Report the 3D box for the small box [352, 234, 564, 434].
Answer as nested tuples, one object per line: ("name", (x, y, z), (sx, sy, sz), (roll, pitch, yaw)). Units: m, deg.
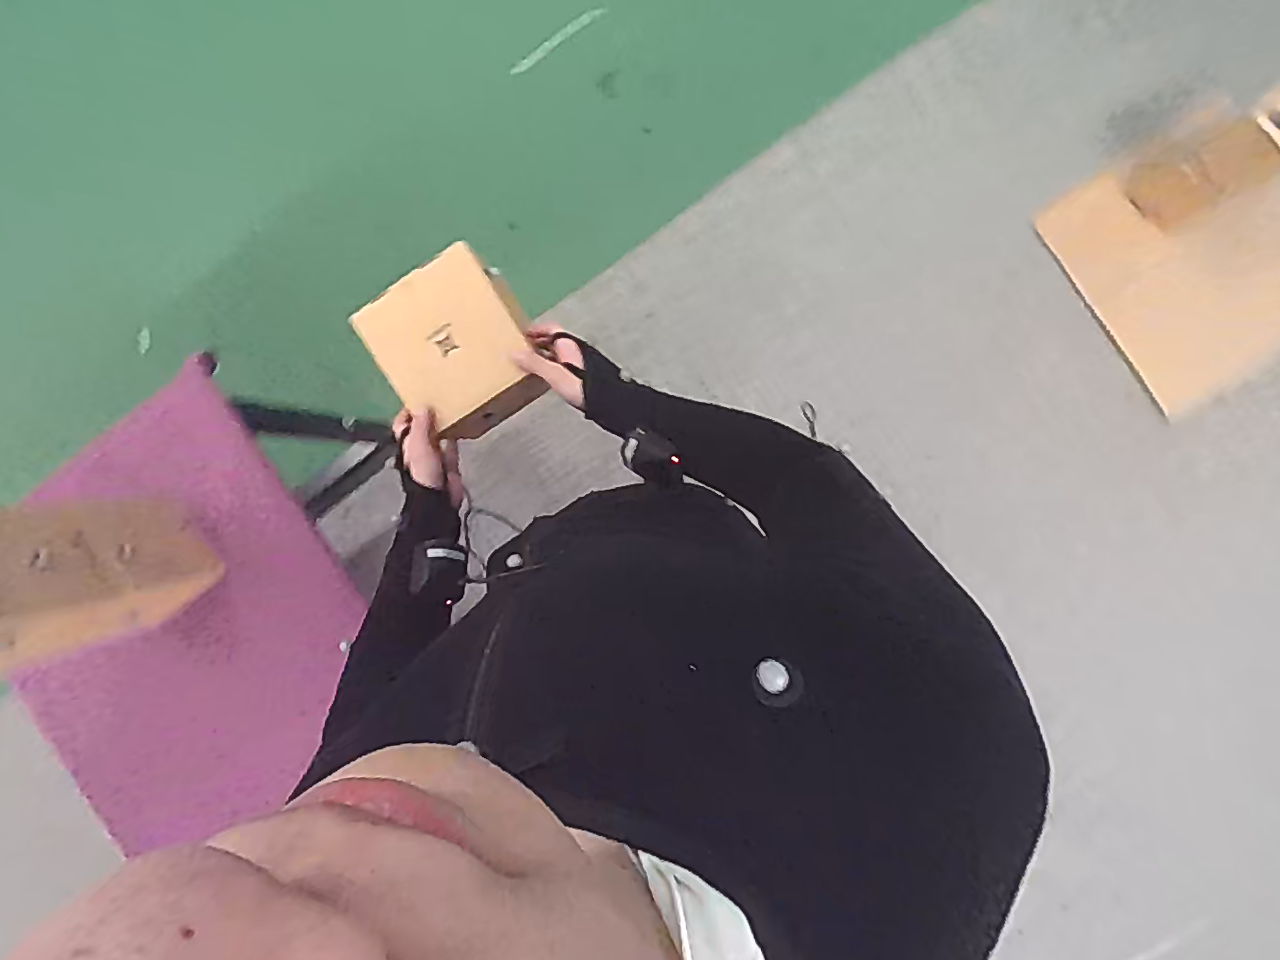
("small box", (-0.221, -0.177, 0.710), (0.168, 0.176, 0.179), (-32, 92, 5))
